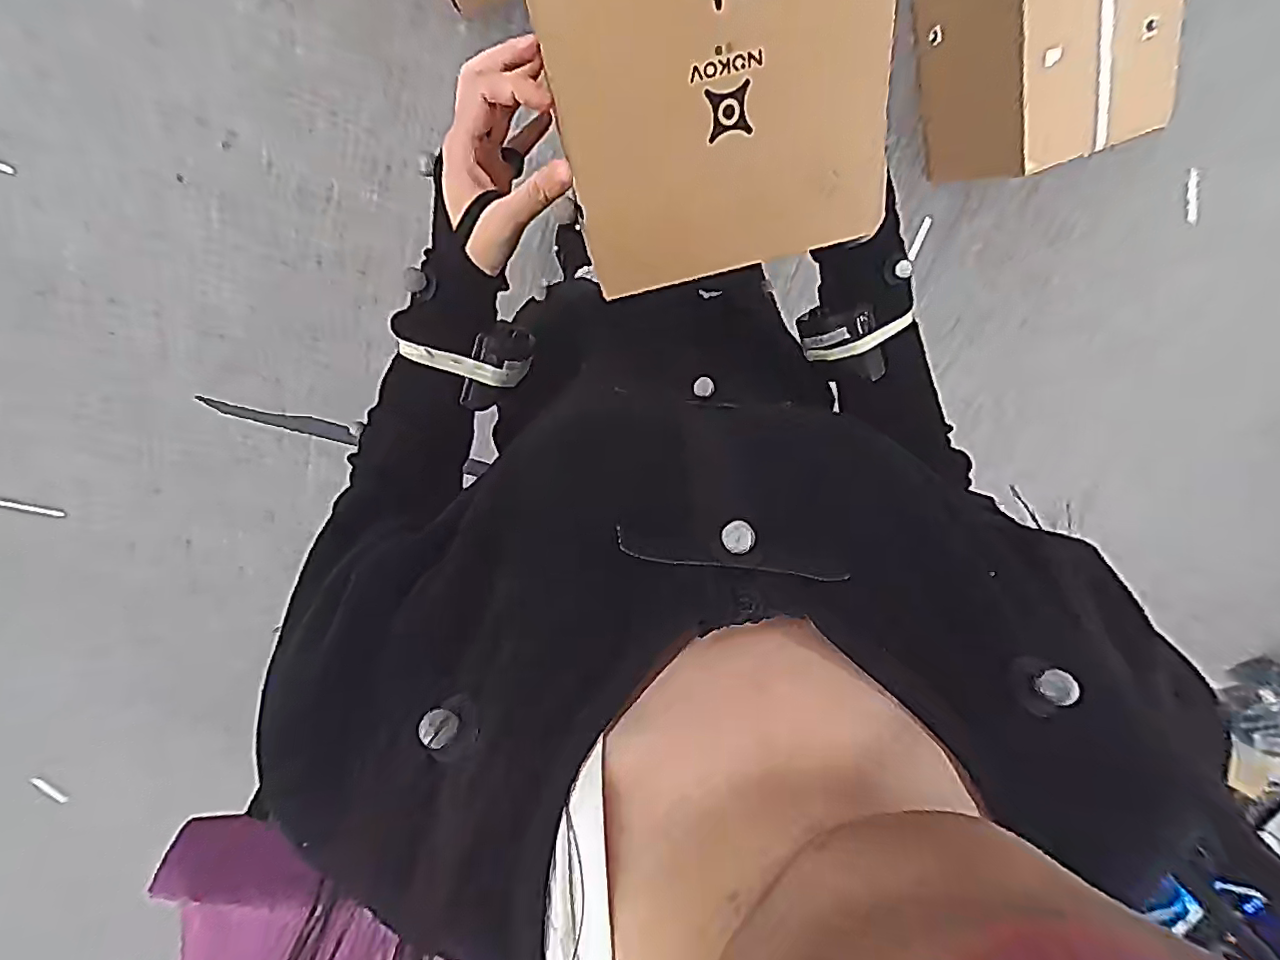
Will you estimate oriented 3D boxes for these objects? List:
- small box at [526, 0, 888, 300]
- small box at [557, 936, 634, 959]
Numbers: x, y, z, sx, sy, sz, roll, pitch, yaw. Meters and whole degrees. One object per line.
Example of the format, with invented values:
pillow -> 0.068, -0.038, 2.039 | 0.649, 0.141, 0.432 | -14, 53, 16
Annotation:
small box -> 0.029, -0.239, 0.333 | 0.168, 0.176, 0.179 | -15, 128, -2
small box -> -0.107, 1.183, 1.236 | 0.168, 0.176, 0.179 | 14, 113, -15
